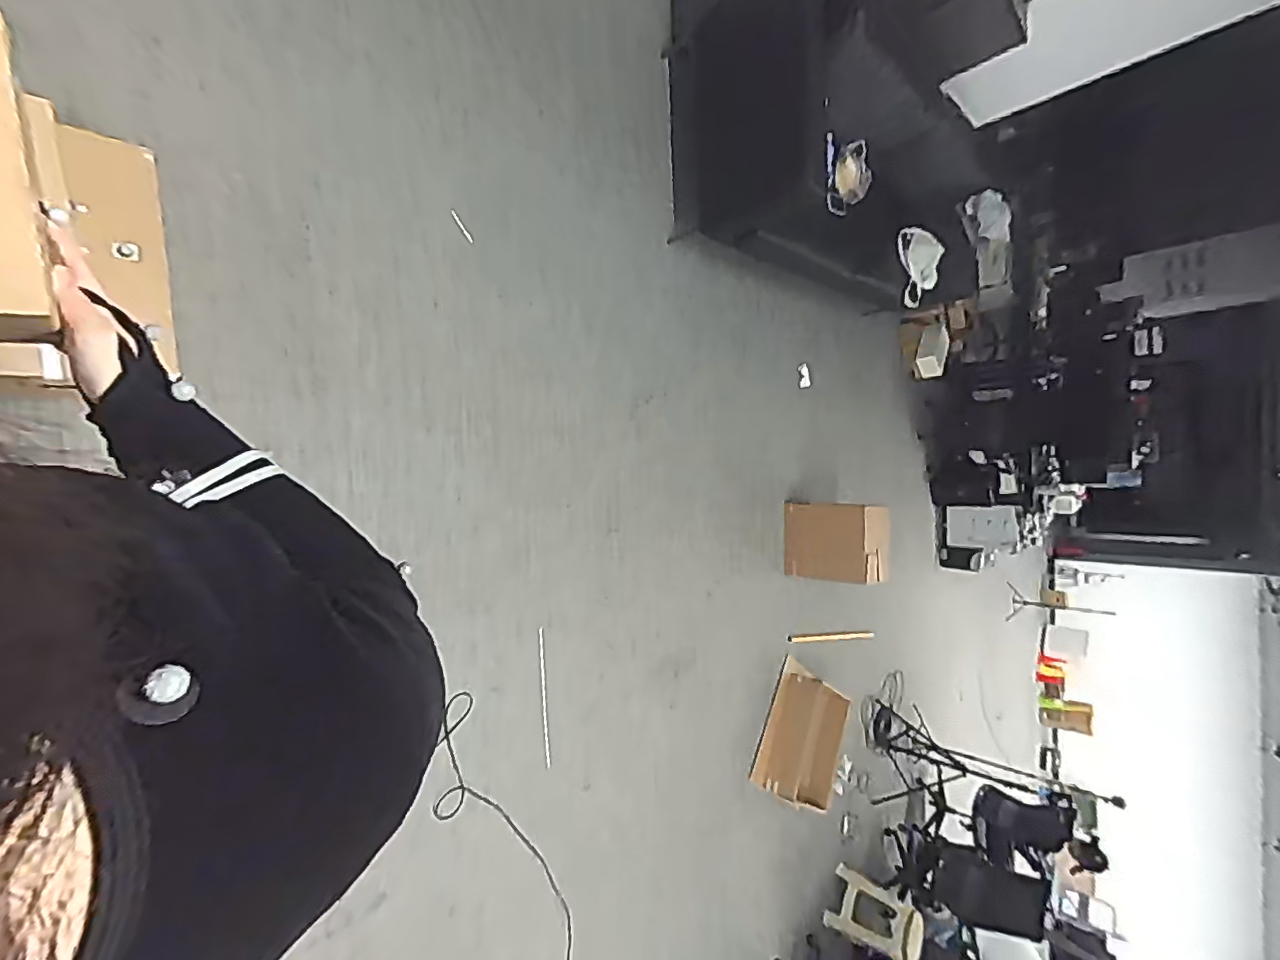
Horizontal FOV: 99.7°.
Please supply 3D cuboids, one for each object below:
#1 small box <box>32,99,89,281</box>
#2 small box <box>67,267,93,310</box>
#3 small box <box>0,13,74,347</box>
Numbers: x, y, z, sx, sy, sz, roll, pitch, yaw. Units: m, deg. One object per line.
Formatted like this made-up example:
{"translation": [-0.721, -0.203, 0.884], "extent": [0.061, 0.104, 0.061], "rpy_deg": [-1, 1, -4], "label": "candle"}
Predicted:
{"translation": [-0.780, -0.343, 0.633], "extent": [0.179, 0.176, 0.168], "rpy_deg": [-11, 96, -43], "label": "small box"}
{"translation": [-0.894, -0.345, 0.753], "extent": [0.168, 0.176, 0.179], "rpy_deg": [-10, 97, -43], "label": "small box"}
{"translation": [-0.476, -0.181, 0.326], "extent": [0.168, 0.176, 0.179], "rpy_deg": [-10, 102, -43], "label": "small box"}
